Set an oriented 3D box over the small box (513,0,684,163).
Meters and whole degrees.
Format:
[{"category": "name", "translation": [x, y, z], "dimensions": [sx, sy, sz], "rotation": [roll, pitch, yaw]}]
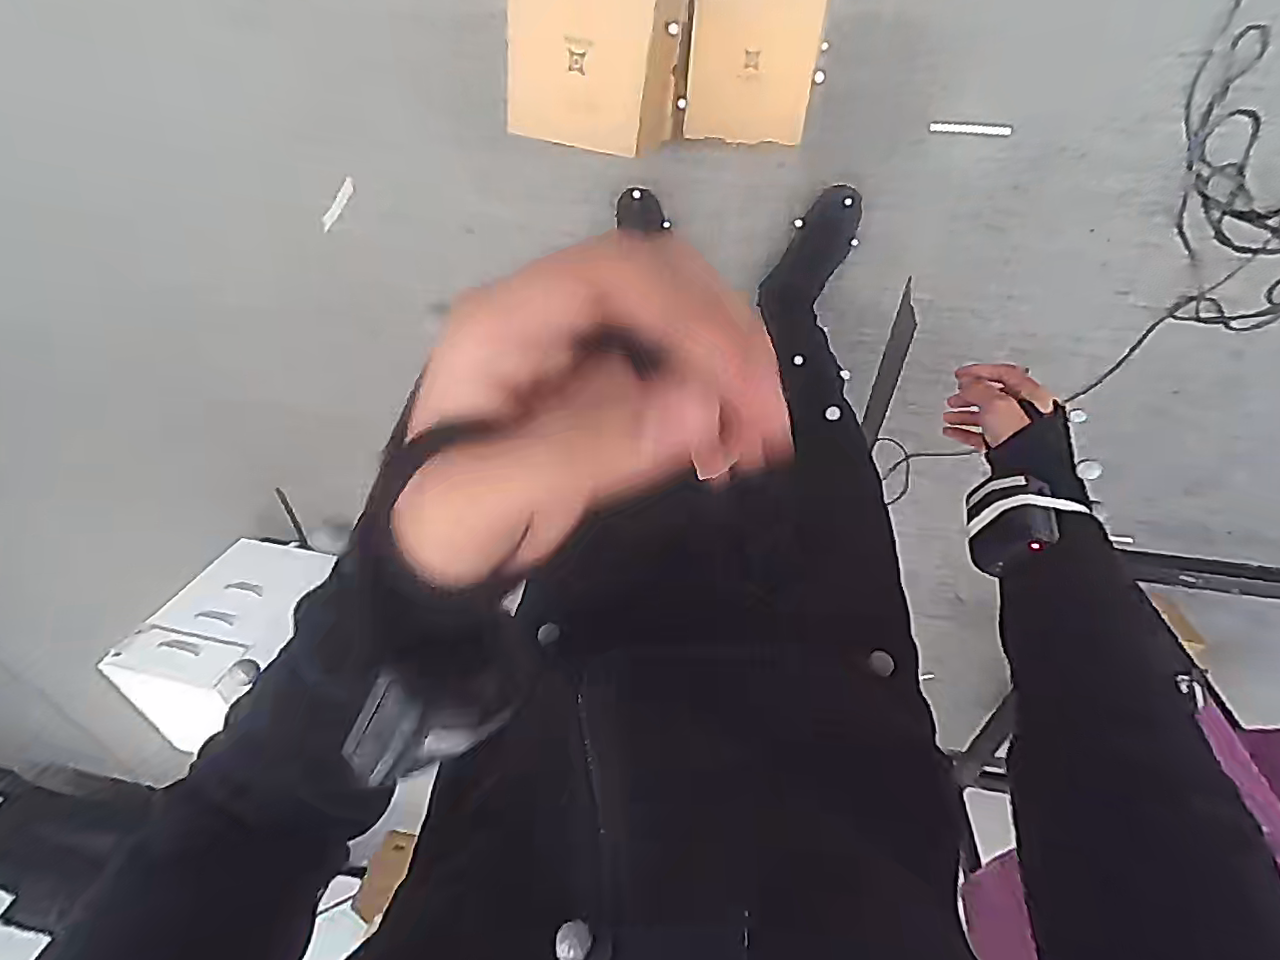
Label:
[{"category": "small box", "translation": [-0.047, -0.518, 0.671], "dimensions": [0.168, 0.176, 0.179], "rotation": [15, 128, 4]}]
